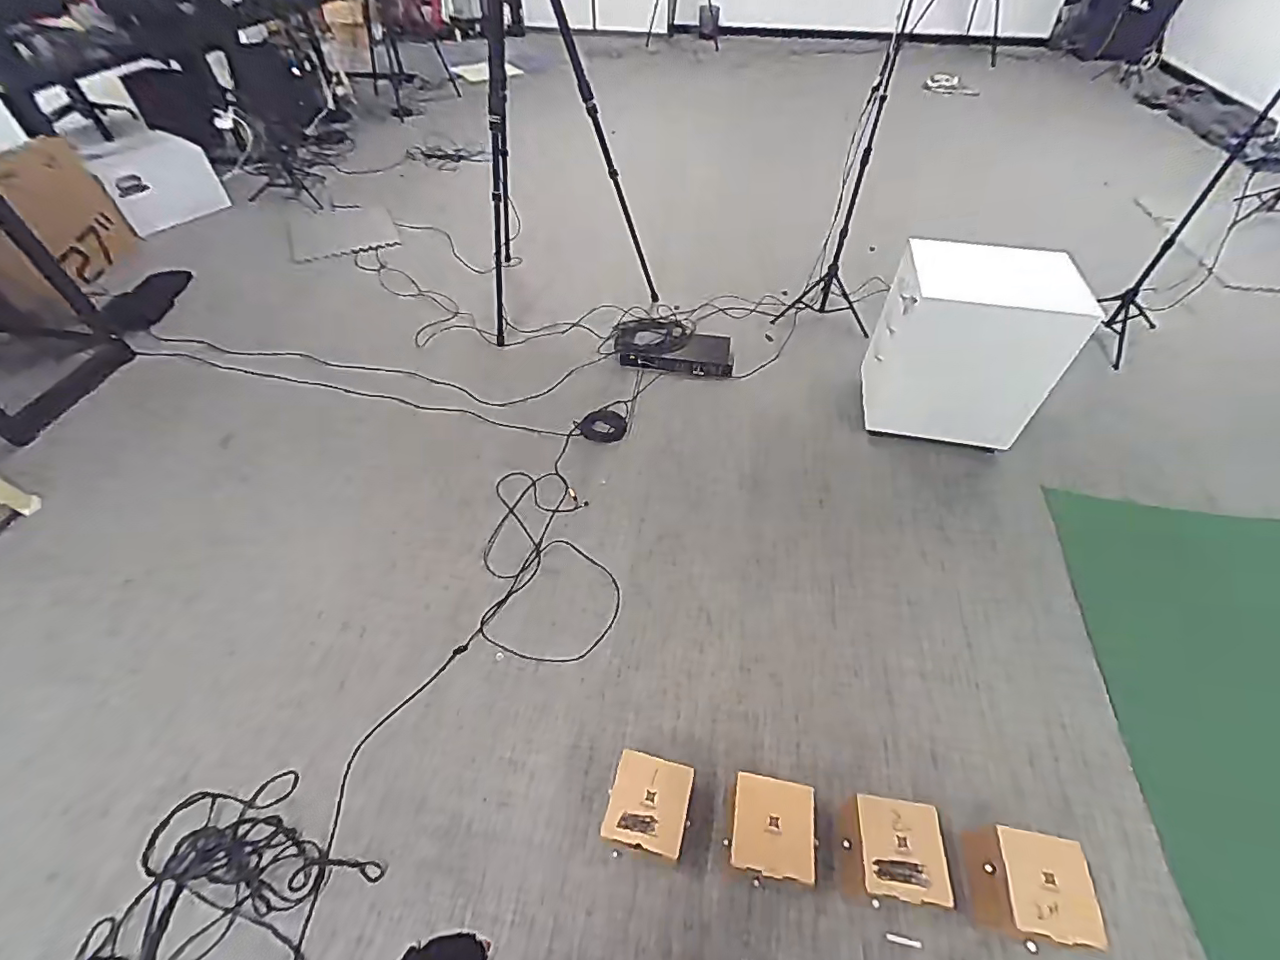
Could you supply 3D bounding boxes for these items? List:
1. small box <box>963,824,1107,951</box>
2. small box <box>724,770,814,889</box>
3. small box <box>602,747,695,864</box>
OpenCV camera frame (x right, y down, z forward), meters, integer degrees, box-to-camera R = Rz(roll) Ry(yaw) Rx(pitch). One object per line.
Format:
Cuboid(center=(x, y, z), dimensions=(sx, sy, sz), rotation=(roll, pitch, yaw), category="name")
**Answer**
Cuboid(center=(0.802, 0.846, 1.123), dimensions=(0.168, 0.176, 0.179), rotation=(8, 50, 8), category="small box")
Cuboid(center=(0.282, 0.771, 1.190), dimensions=(0.168, 0.176, 0.179), rotation=(8, 50, 8), category="small box")
Cuboid(center=(0.023, 0.738, 1.219), dimensions=(0.168, 0.176, 0.179), rotation=(12, 50, 10), category="small box")
